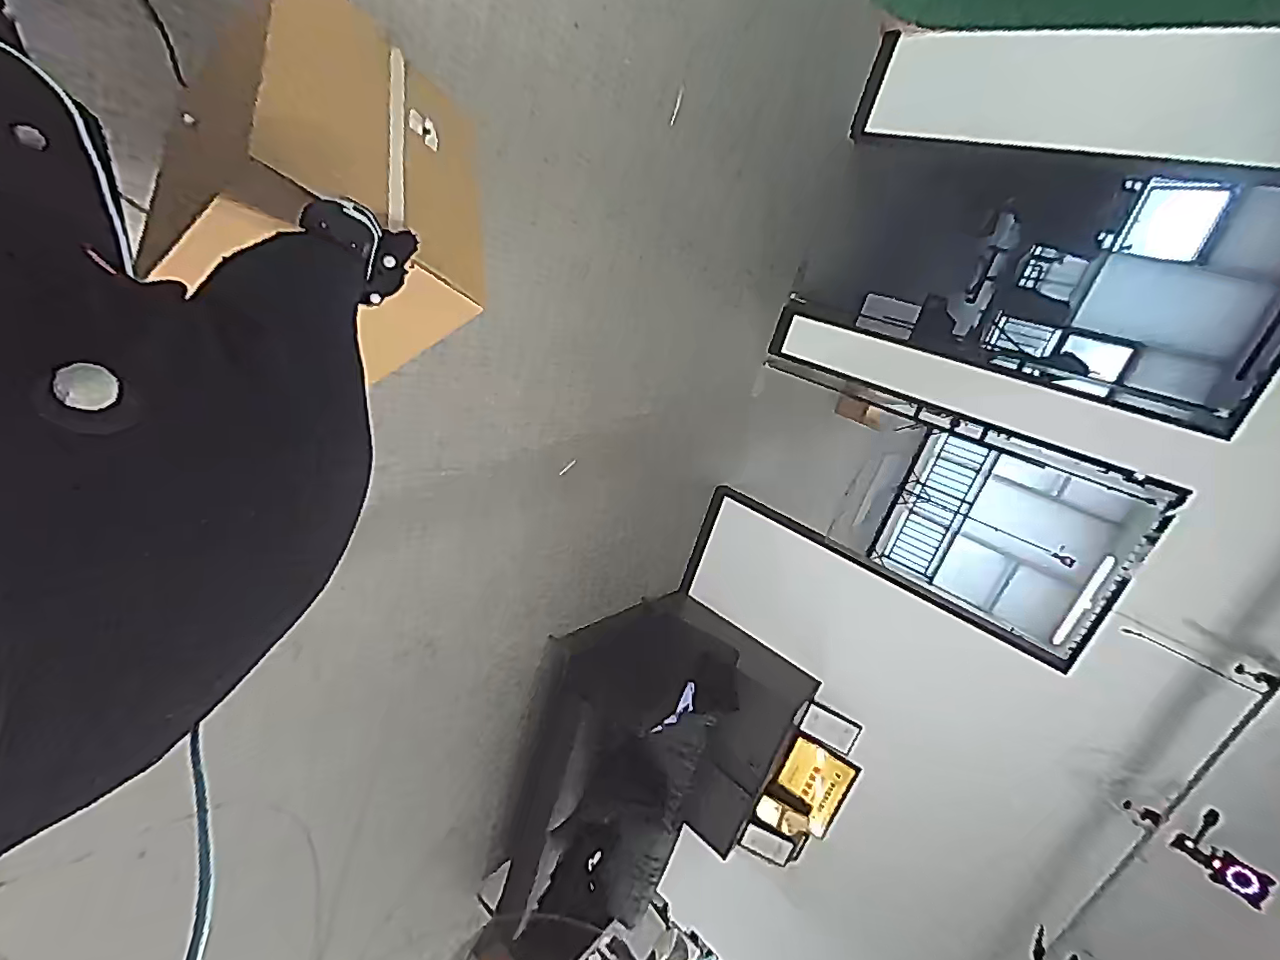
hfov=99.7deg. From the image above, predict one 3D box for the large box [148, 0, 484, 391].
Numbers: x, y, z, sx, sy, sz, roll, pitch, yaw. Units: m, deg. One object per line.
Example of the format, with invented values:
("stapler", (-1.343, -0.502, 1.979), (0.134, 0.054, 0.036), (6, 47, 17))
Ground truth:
("large box", (-0.471, -0.412, 0.821), (0.320, 0.408, 0.320), (-23, 155, 26))
